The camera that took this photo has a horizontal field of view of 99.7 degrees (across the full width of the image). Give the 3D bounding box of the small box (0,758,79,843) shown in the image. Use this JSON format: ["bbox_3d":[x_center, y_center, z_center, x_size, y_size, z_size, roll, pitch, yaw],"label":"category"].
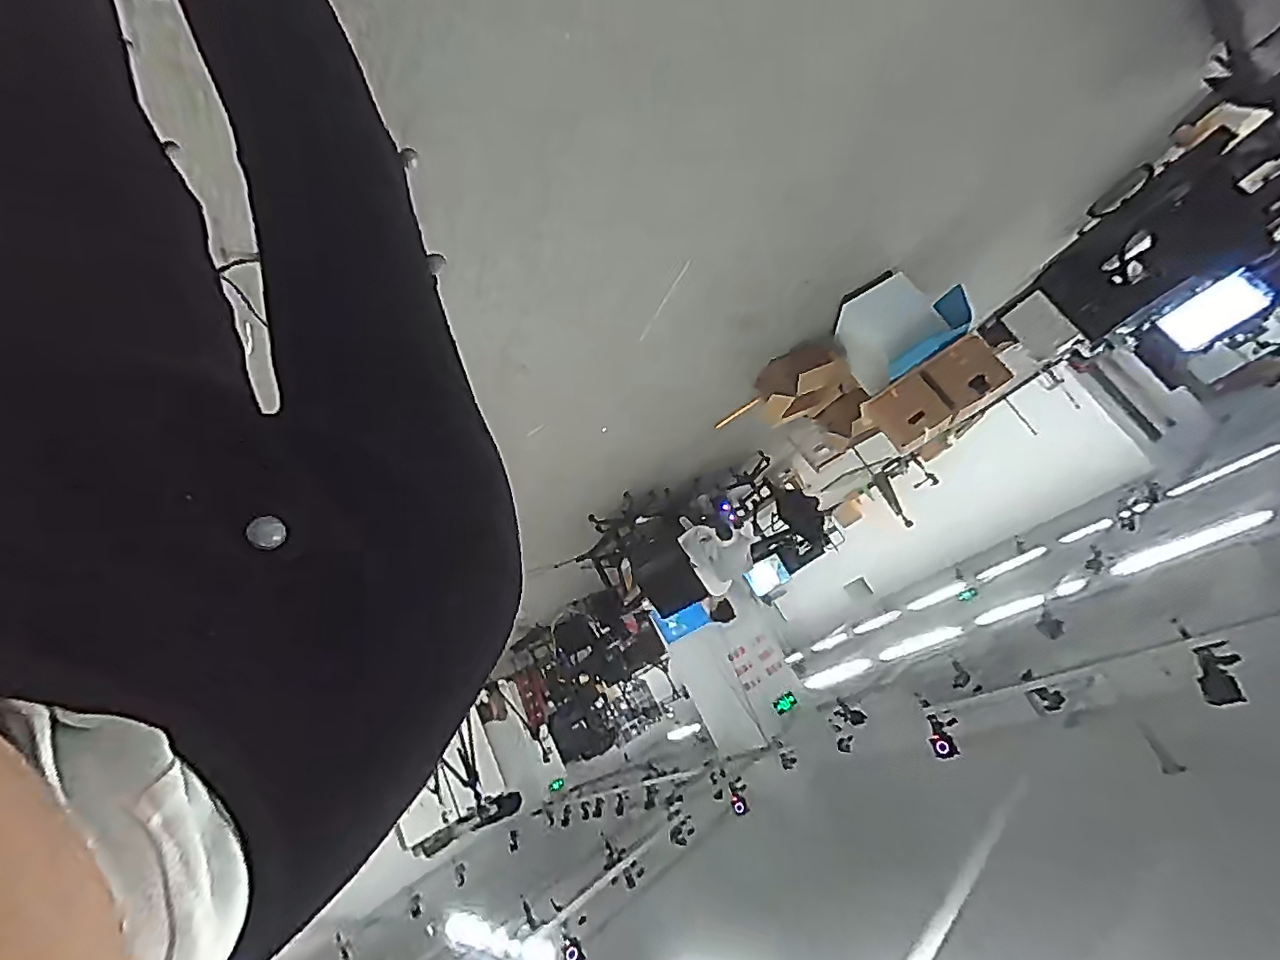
[{"bbox_3d":[-1.909,1.000,1.693,0.168,0.176,0.179,-17,159,-37],"label":"small box"}]

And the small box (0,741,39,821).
[{"bbox_3d":[-1.747,0.820,1.433,0.168,0.176,0.179,-15,158,-39],"label":"small box"}]

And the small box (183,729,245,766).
[{"bbox_3d":[-1.557,0.908,1.968,0.168,0.176,0.179,-12,155,-39],"label":"small box"}]
